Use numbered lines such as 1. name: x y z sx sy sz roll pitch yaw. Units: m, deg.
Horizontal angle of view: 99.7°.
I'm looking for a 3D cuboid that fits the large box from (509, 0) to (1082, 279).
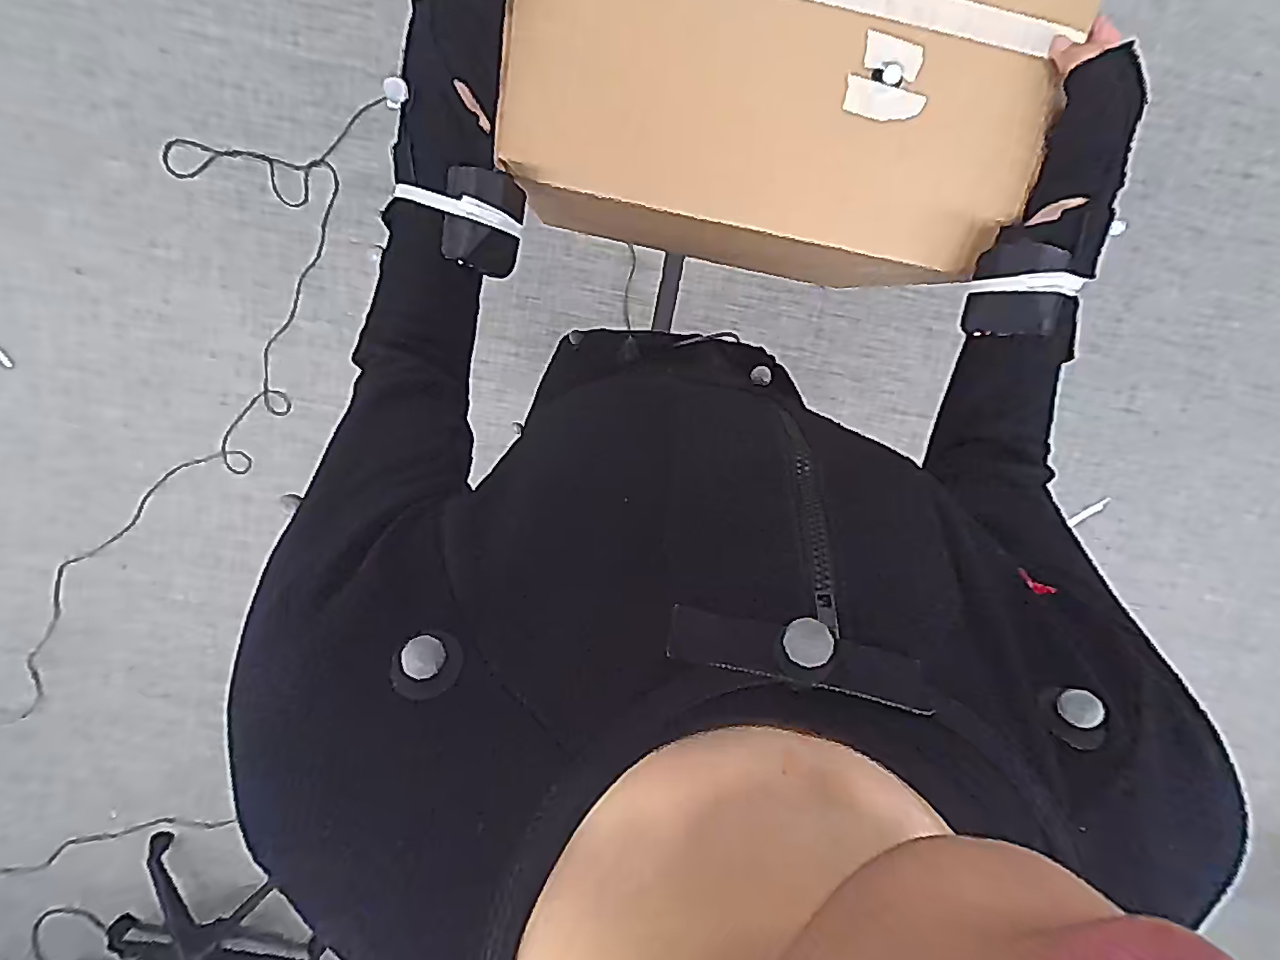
1. large box: 0.108 -0.393 0.521 0.408 0.320 0.320 9 109 -7
